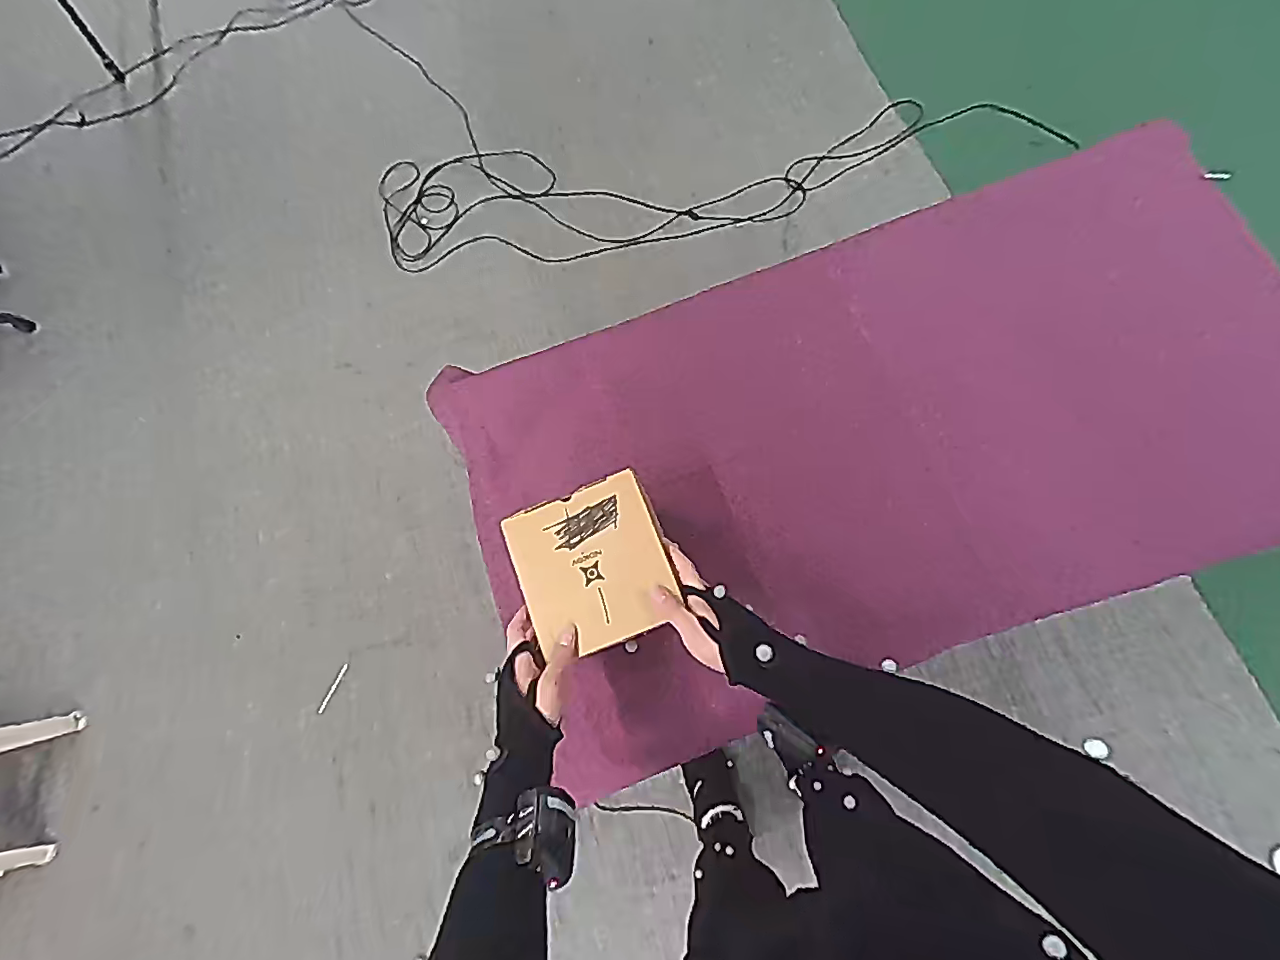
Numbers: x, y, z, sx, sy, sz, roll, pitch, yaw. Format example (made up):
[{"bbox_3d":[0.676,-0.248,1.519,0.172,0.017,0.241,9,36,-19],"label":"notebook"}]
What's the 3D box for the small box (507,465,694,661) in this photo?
[{"bbox_3d":[-0.040,0.107,0.672,0.168,0.176,0.179,-22,76,2],"label":"small box"}]
